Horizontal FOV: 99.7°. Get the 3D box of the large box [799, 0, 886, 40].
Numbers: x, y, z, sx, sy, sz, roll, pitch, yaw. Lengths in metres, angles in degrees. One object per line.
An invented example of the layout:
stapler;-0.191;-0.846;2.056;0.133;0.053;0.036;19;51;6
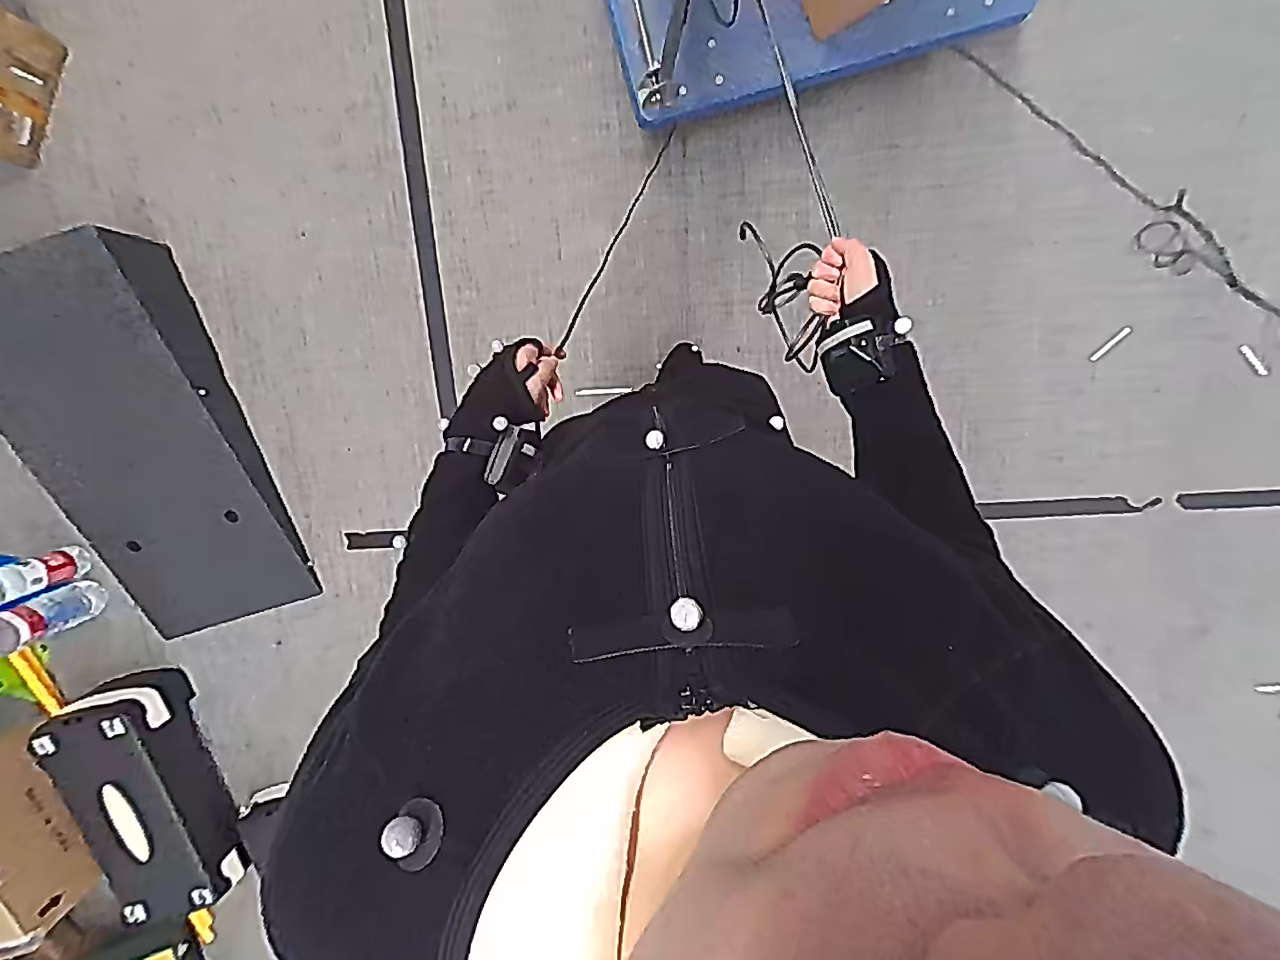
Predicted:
large box;0.408;-1.130;0.944;0.320;0.320;0.408;-29;101;5
